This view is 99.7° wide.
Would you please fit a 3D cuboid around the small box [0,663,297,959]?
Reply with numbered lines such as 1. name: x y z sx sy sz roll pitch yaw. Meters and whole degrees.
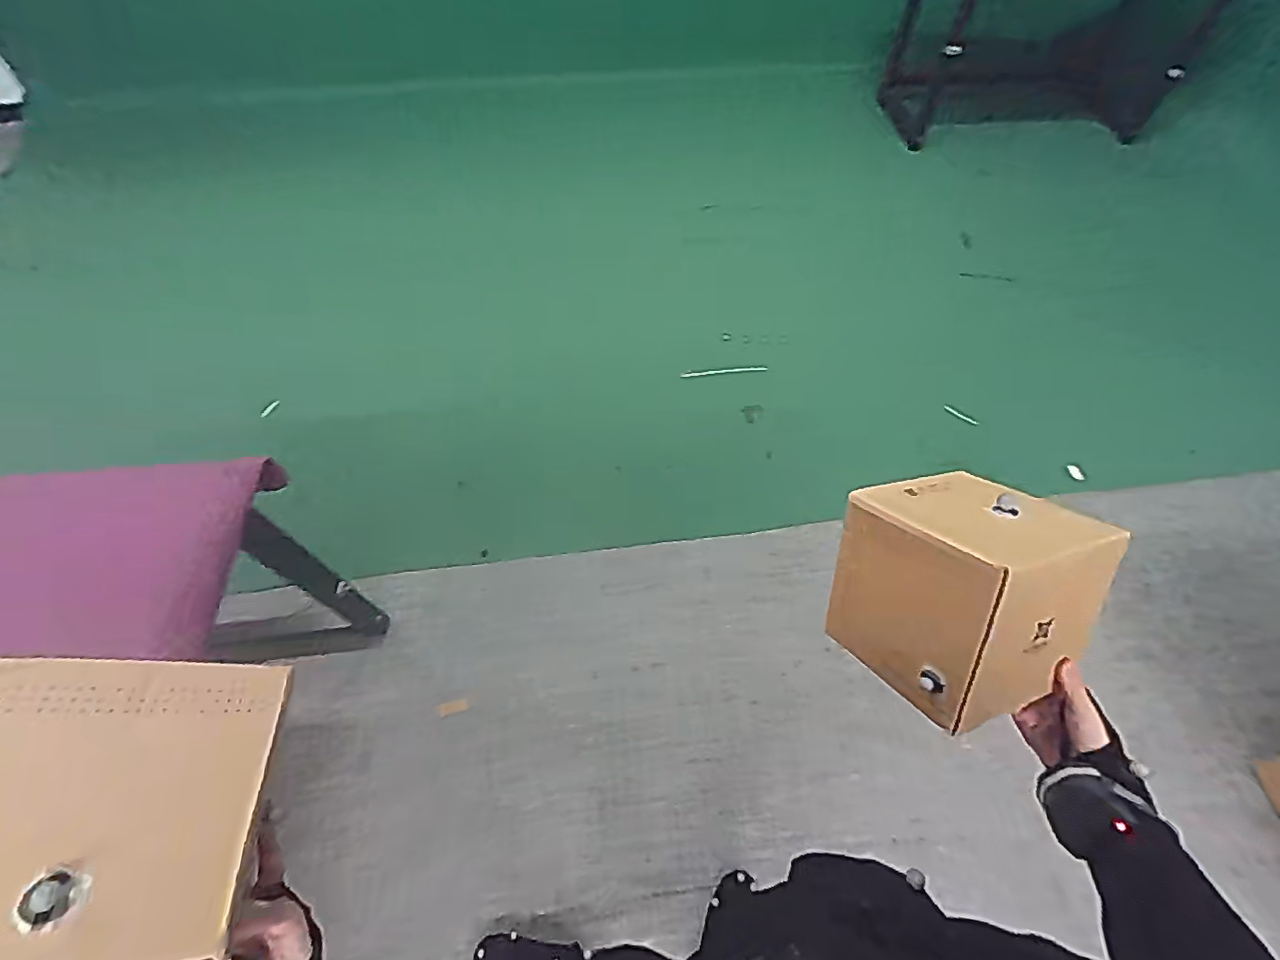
1. small box: -0.343 0.228 0.351 0.179 0.168 0.176 13 49 -28

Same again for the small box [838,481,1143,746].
1. small box: 0.320 0.110 0.528 0.168 0.179 0.176 -8 25 -22
